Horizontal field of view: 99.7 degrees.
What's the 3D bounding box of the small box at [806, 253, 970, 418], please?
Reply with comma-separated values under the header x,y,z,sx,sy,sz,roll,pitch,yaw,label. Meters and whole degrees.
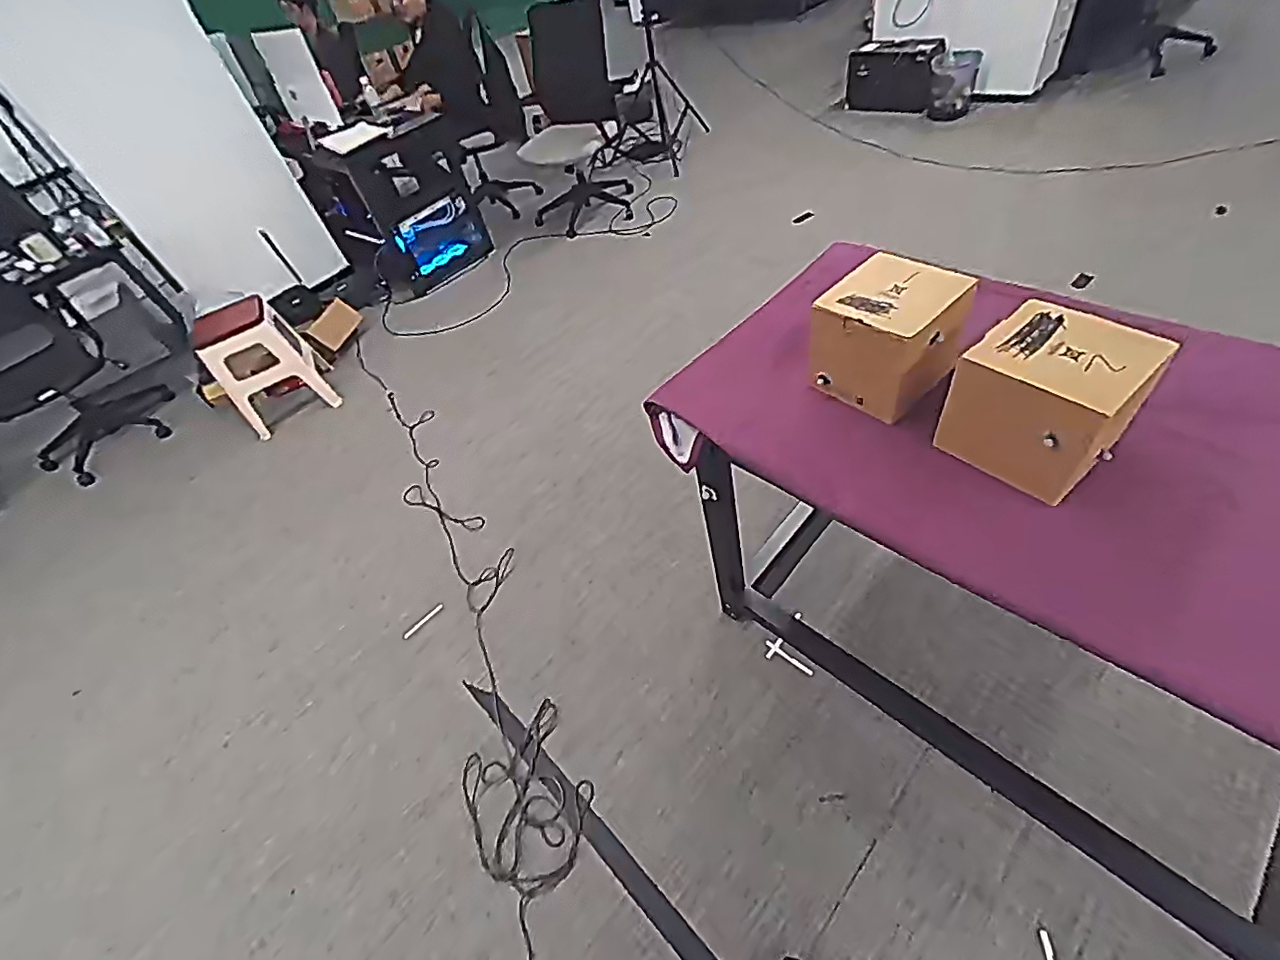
x,y,z,sx,sy,sz,roll,pitch,yaw,label
0.391,-0.232,0.876,0.179,0.176,0.168,-38,52,-18,small box
